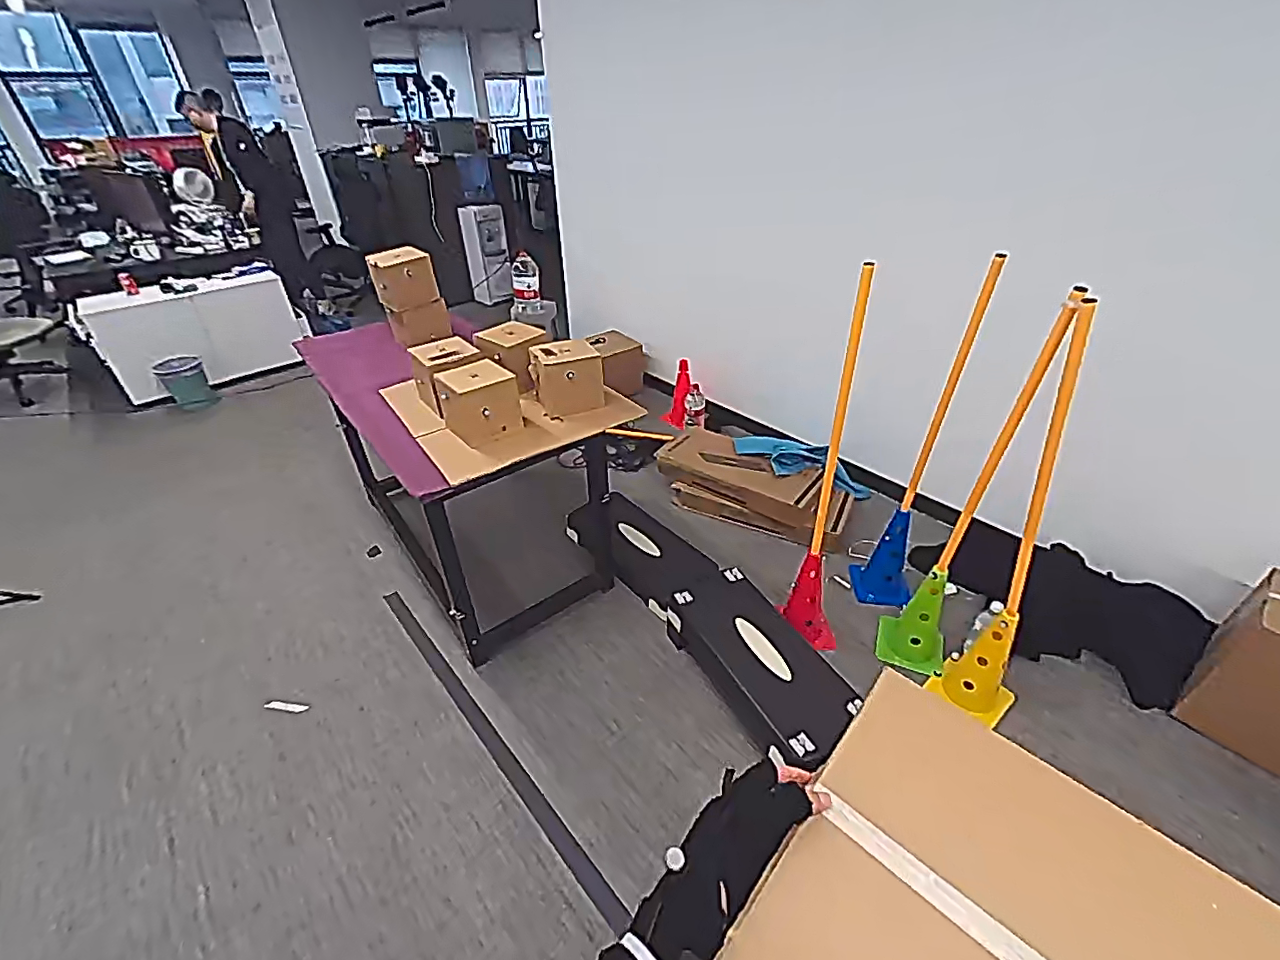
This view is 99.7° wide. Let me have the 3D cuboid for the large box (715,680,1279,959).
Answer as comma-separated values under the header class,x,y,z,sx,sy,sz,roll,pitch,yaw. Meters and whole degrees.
class,x,y,z,sx,sy,sz,roll,pitch,yaw
large box,0.306,0.476,0.486,0.408,0.320,0.320,30,53,31
